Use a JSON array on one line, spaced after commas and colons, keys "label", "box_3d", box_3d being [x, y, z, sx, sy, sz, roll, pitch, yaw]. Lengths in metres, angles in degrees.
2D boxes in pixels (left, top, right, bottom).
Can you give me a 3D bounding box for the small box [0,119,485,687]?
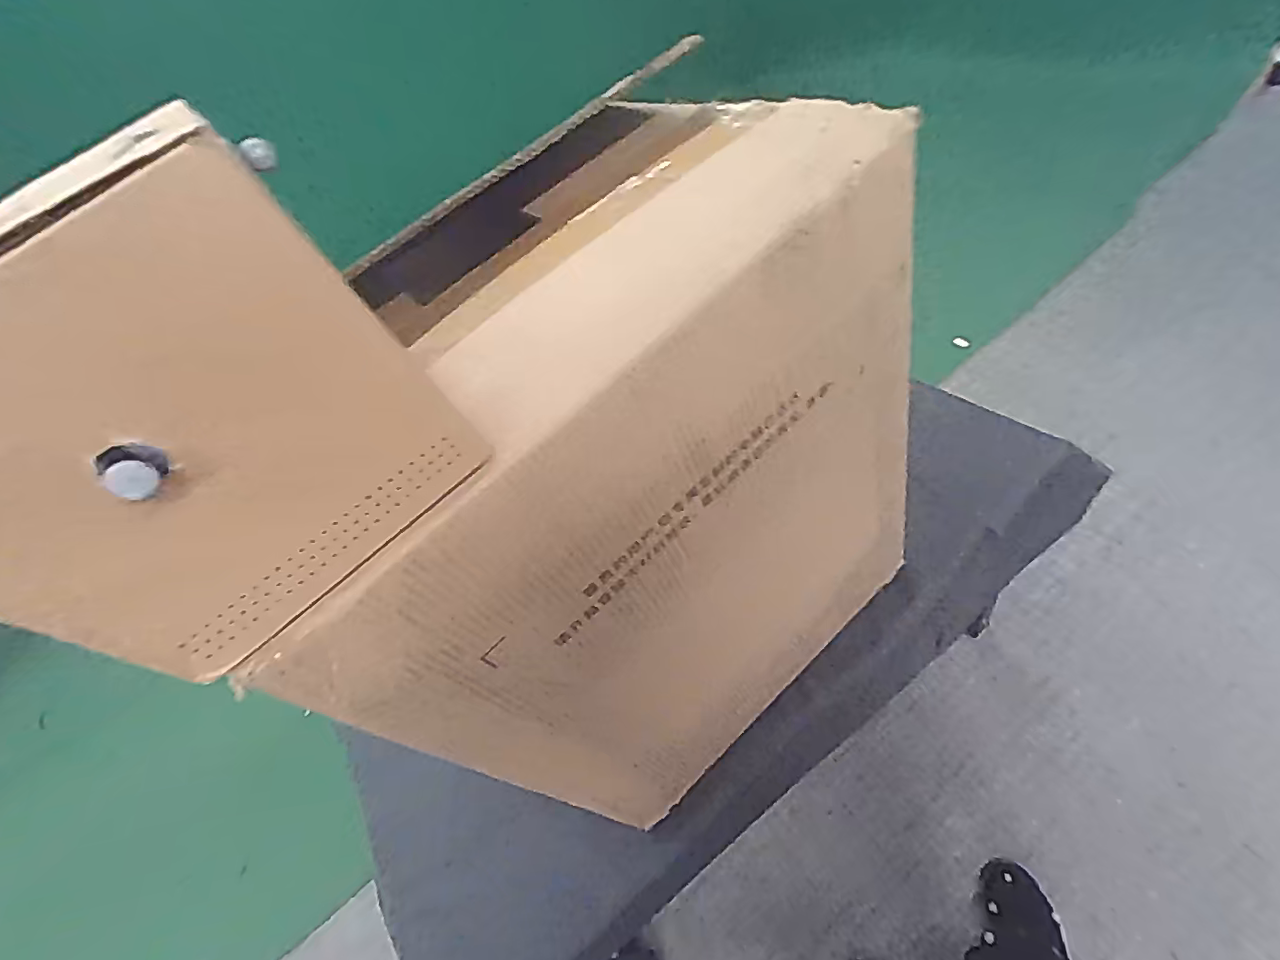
[{"label": "small box", "box_3d": [-0.212, -0.034, 0.260, 0.179, 0.176, 0.168, -42, 50, -10]}]
